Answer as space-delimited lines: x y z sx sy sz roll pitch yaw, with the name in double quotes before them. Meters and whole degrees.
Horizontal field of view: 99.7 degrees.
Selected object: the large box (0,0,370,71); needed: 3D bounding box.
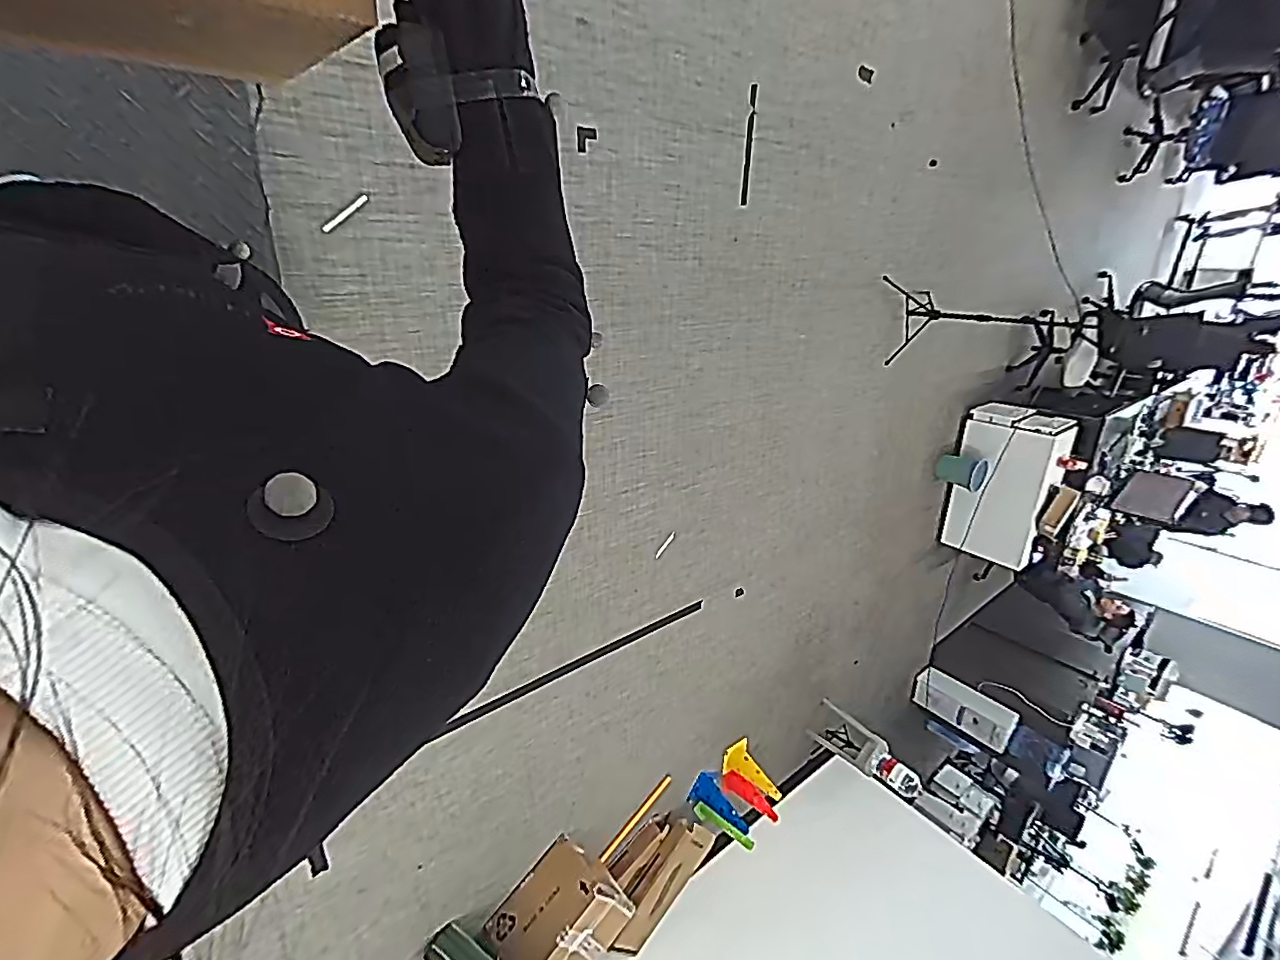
"large box" -0.388 -0.401 0.217 0.408 0.320 0.320 -18 126 -36
